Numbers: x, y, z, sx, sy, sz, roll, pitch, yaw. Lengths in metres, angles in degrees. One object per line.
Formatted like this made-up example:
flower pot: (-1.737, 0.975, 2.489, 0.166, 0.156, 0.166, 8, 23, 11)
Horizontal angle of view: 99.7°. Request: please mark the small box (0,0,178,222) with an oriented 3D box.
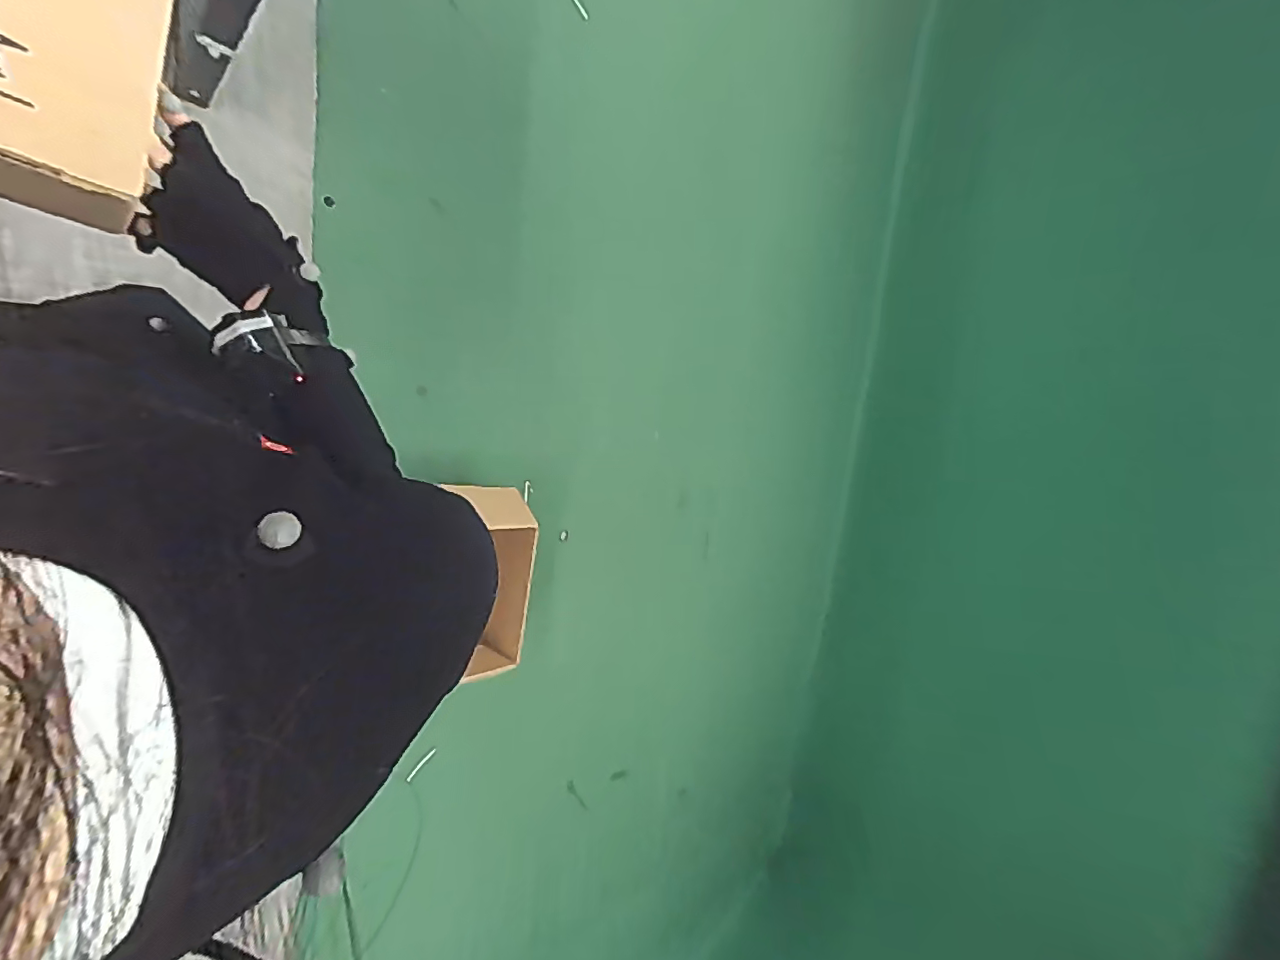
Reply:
small box: (-0.384, -0.271, 0.308, 0.168, 0.176, 0.179, 8, 95, -48)
